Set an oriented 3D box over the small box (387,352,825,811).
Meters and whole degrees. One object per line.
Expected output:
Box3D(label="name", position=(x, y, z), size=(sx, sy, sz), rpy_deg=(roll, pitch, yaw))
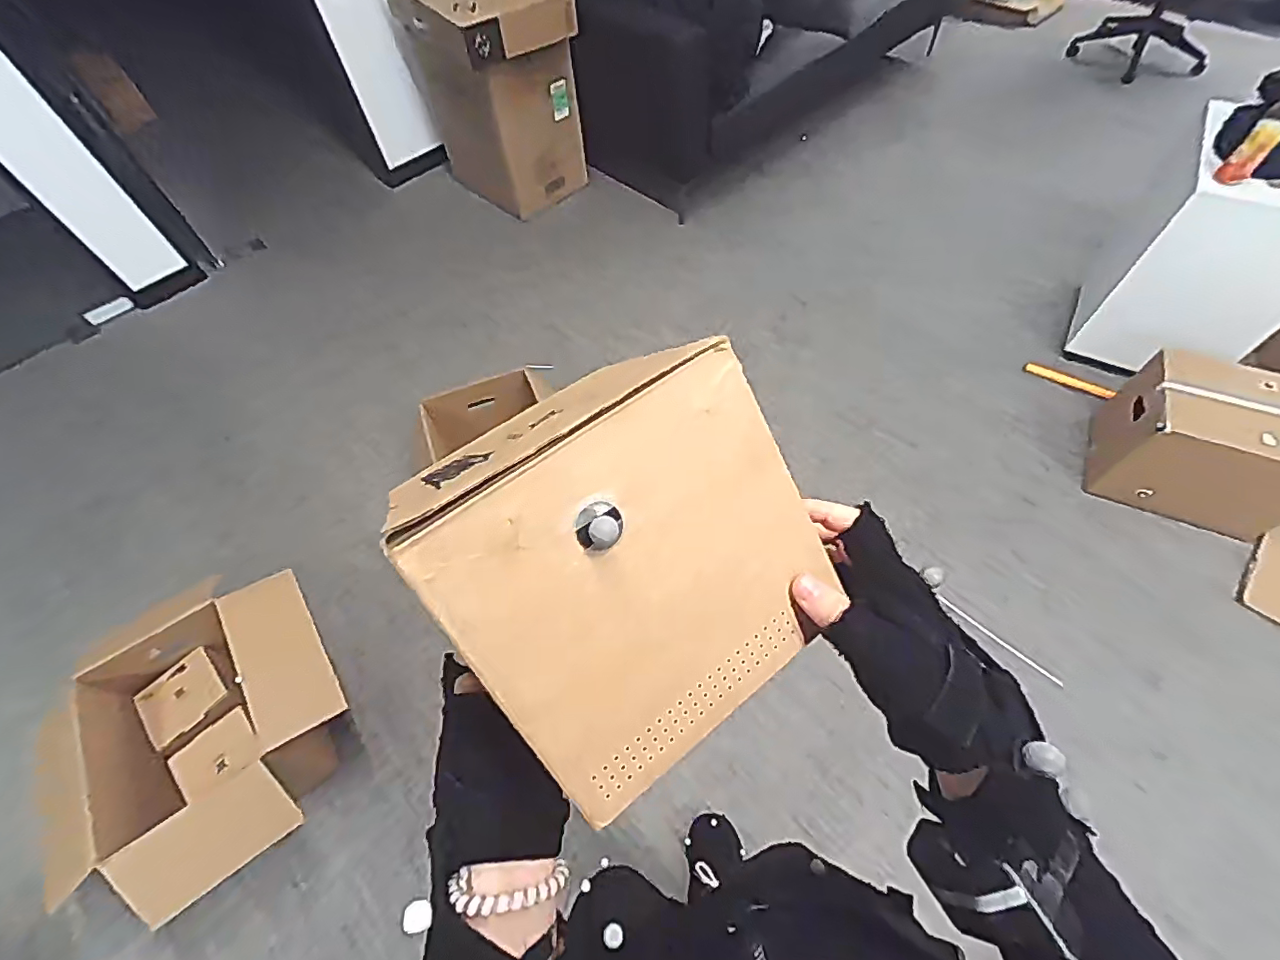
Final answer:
Box3D(label="small box", position=(-0.023, 0.047, 0.330), size=(0.179, 0.176, 0.168), rpy_deg=(-34, 17, -17))
